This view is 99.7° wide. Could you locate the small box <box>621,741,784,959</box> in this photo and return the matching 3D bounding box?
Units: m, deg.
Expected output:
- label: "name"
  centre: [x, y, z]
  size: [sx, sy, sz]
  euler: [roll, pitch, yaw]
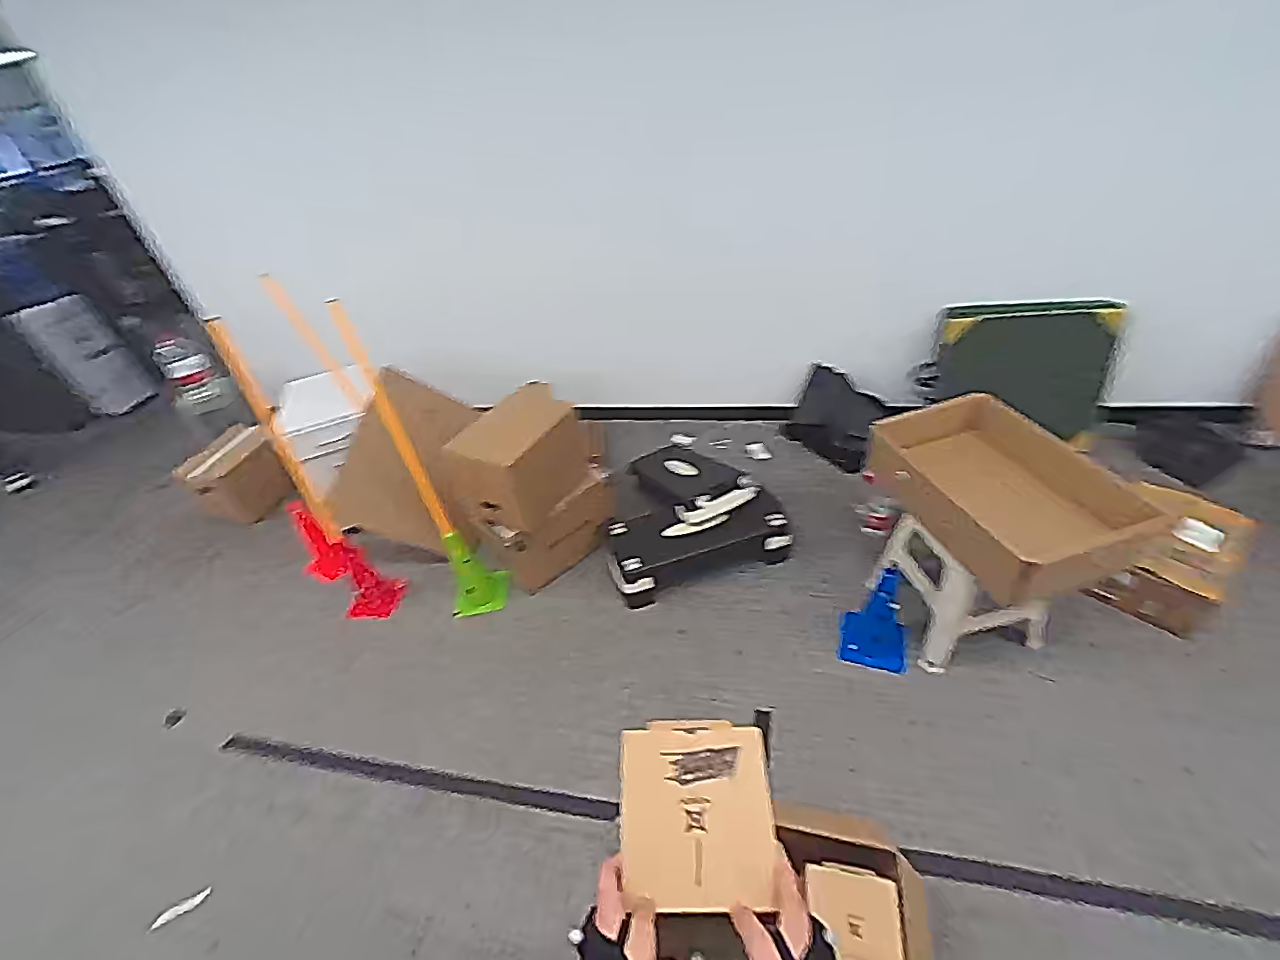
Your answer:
- label: "small box"
  centre: [0.068, 0.443, 0.651]
  size: [0.168, 0.176, 0.179]
  euler: [-2, 36, 3]
